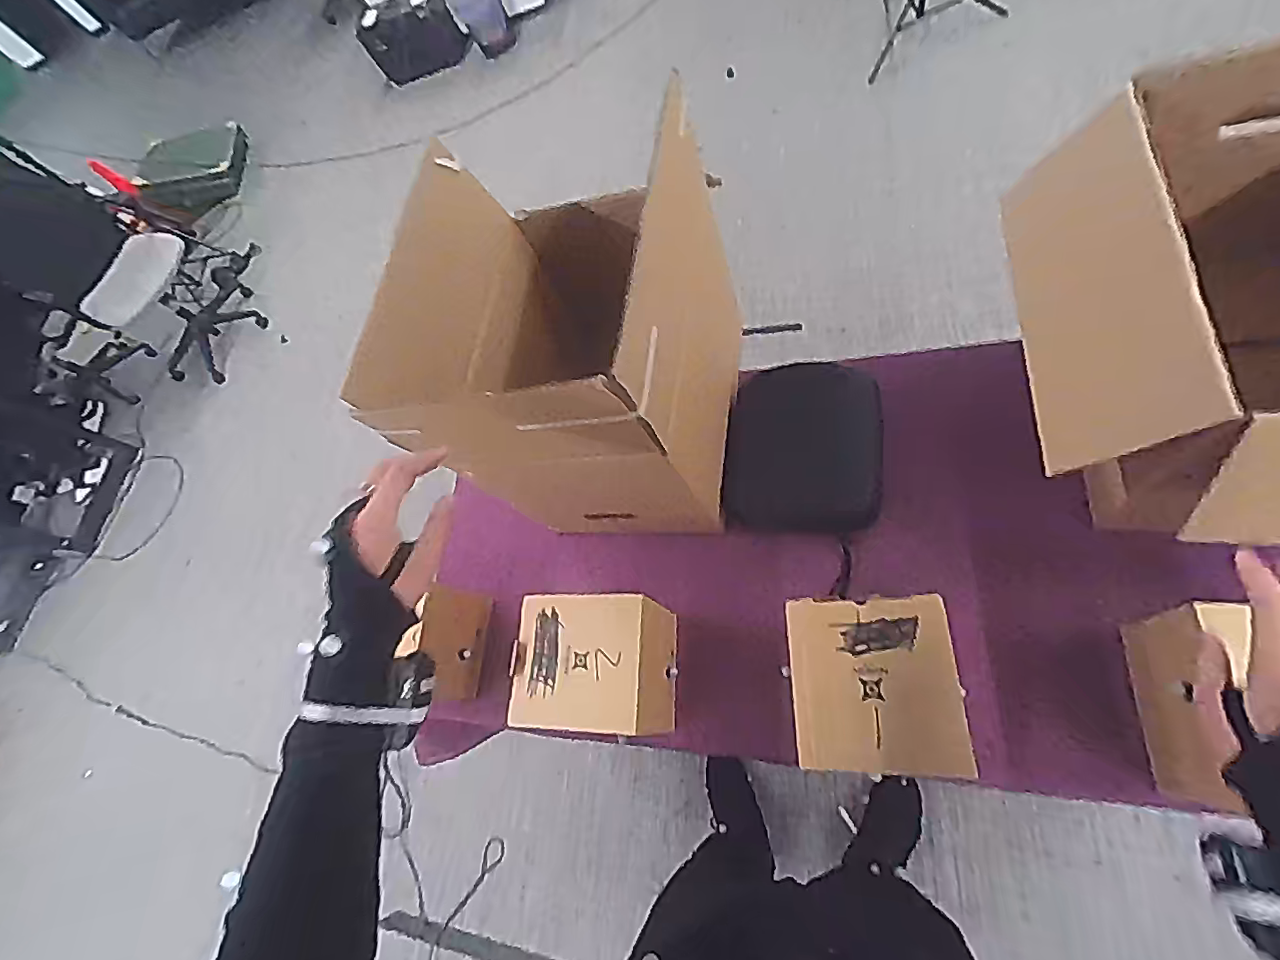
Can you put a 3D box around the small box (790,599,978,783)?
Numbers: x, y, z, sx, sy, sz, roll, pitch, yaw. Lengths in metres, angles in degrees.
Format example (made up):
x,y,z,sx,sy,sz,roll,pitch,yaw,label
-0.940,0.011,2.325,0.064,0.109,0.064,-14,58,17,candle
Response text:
x,y,z,sx,sy,sz,roll,pitch,yaw,label
0.272,0.244,0.637,0.168,0.176,0.179,-7,66,19,small box

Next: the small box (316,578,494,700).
x,y,z,sx,sy,sz,roll,pitch,yaw,label
-0.369,0.260,0.876,0.179,0.176,0.168,-2,67,19,small box

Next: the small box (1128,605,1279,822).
x,y,z,sx,sy,sz,roll,pitch,yaw,label
0.610,0.226,0.512,0.168,0.176,0.179,-2,67,22,small box
